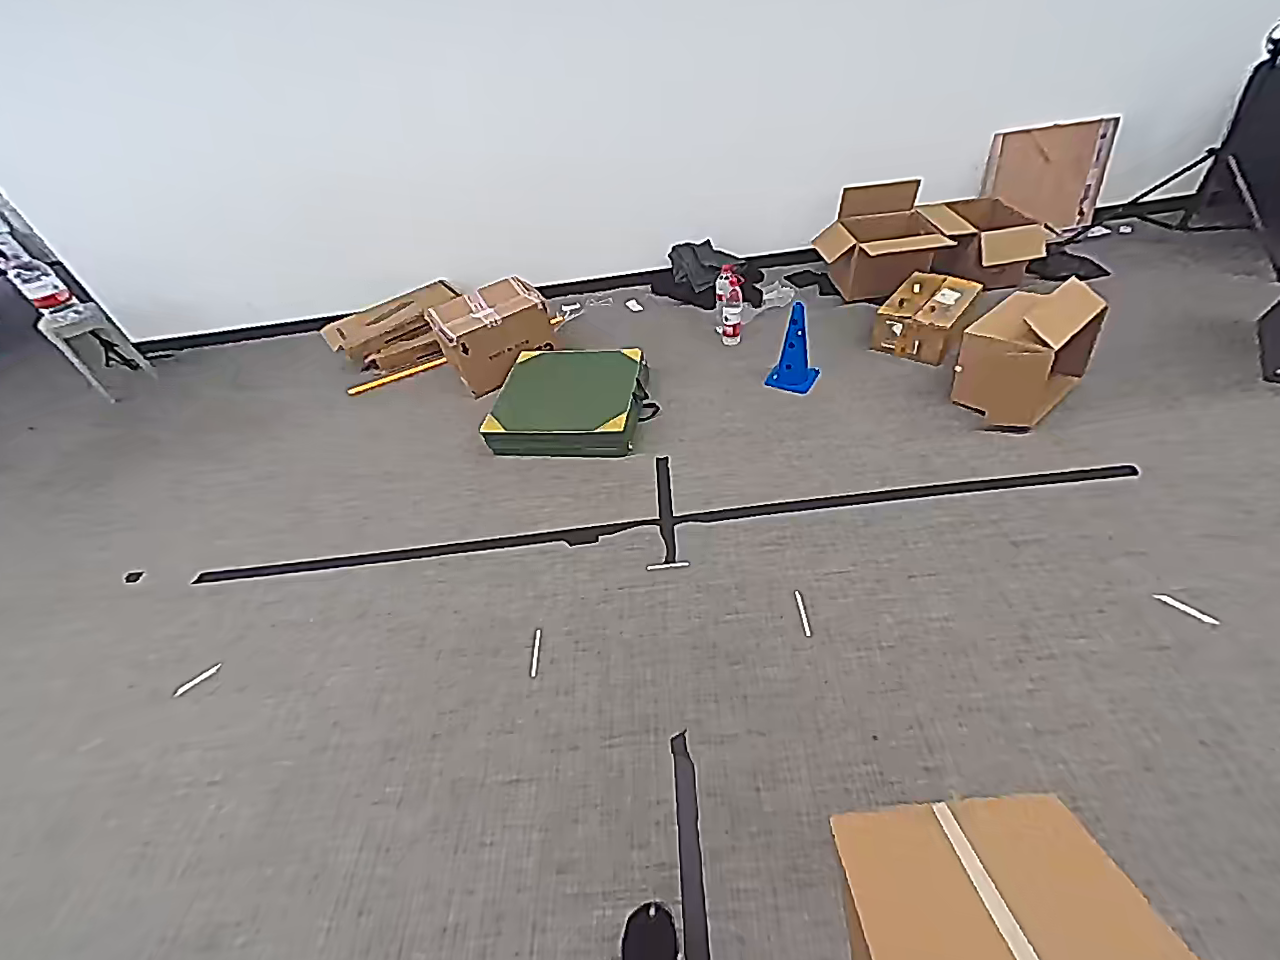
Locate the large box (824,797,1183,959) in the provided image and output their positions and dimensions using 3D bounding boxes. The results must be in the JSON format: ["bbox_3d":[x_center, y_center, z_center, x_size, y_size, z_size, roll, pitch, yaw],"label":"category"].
[{"bbox_3d":[0.432,0.652,0.605,0.320,0.320,0.408,-13,11,8],"label":"large box"}]
